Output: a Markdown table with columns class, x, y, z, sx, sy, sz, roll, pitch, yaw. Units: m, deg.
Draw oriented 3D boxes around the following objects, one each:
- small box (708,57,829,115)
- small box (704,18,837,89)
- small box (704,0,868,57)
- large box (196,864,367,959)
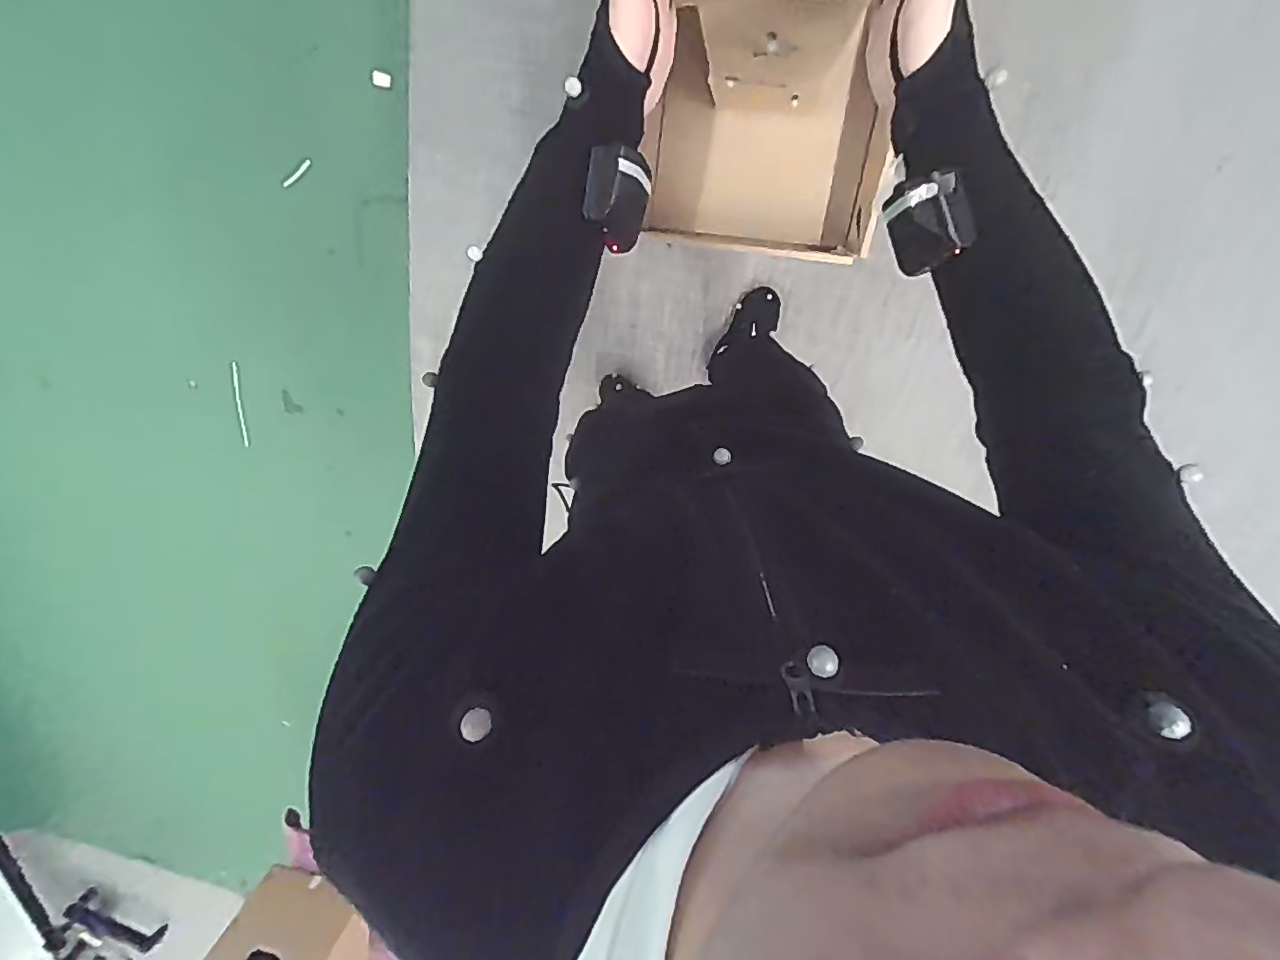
| class | x | y | z | sx | sy | sz | roll | pitch | yaw |
| --- | --- | --- | --- | --- | --- | --- | --- | --- | --- |
| small box | 0.209 | -0.686 | 0.838 | 0.179 | 0.176 | 0.168 | 10 | 114 | 6 |
| small box | 0.184 | -0.627 | 0.687 | 0.168 | 0.176 | 0.179 | 12 | 113 | 5 |
| small box | 0.155 | -0.562 | 0.538 | 0.168 | 0.176 | 0.179 | 11 | 114 | 7 |
| large box | -1.043 | 1.436 | 1.588 | 0.320 | 0.320 | 0.408 | 13 | 115 | 3 |
